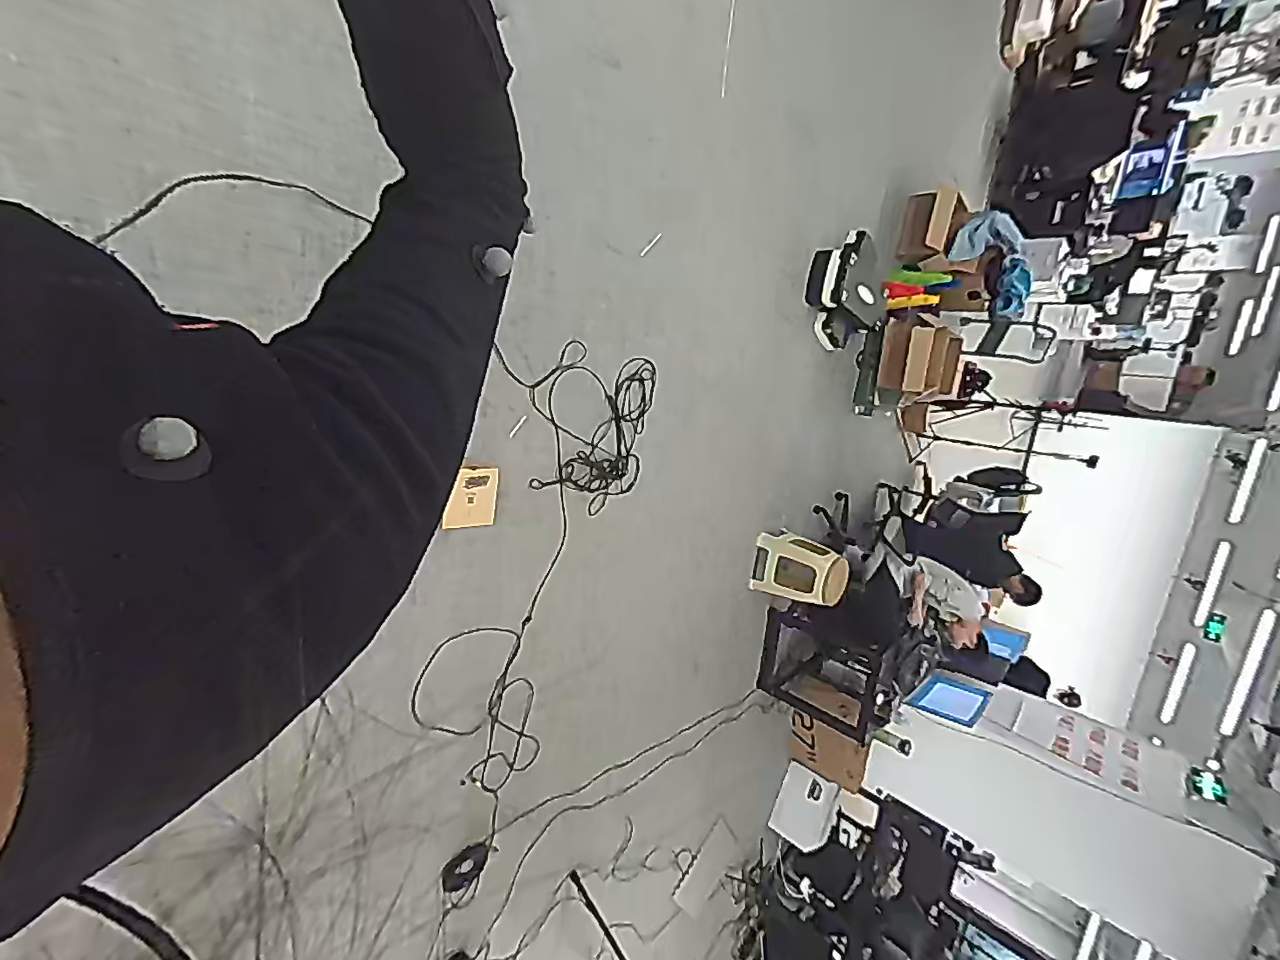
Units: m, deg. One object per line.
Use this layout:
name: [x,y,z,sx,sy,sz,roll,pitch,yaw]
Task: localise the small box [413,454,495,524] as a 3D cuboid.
small box: [-0.550,0.020,1.589,0.168,0.176,0.179,-2,105,-48]
